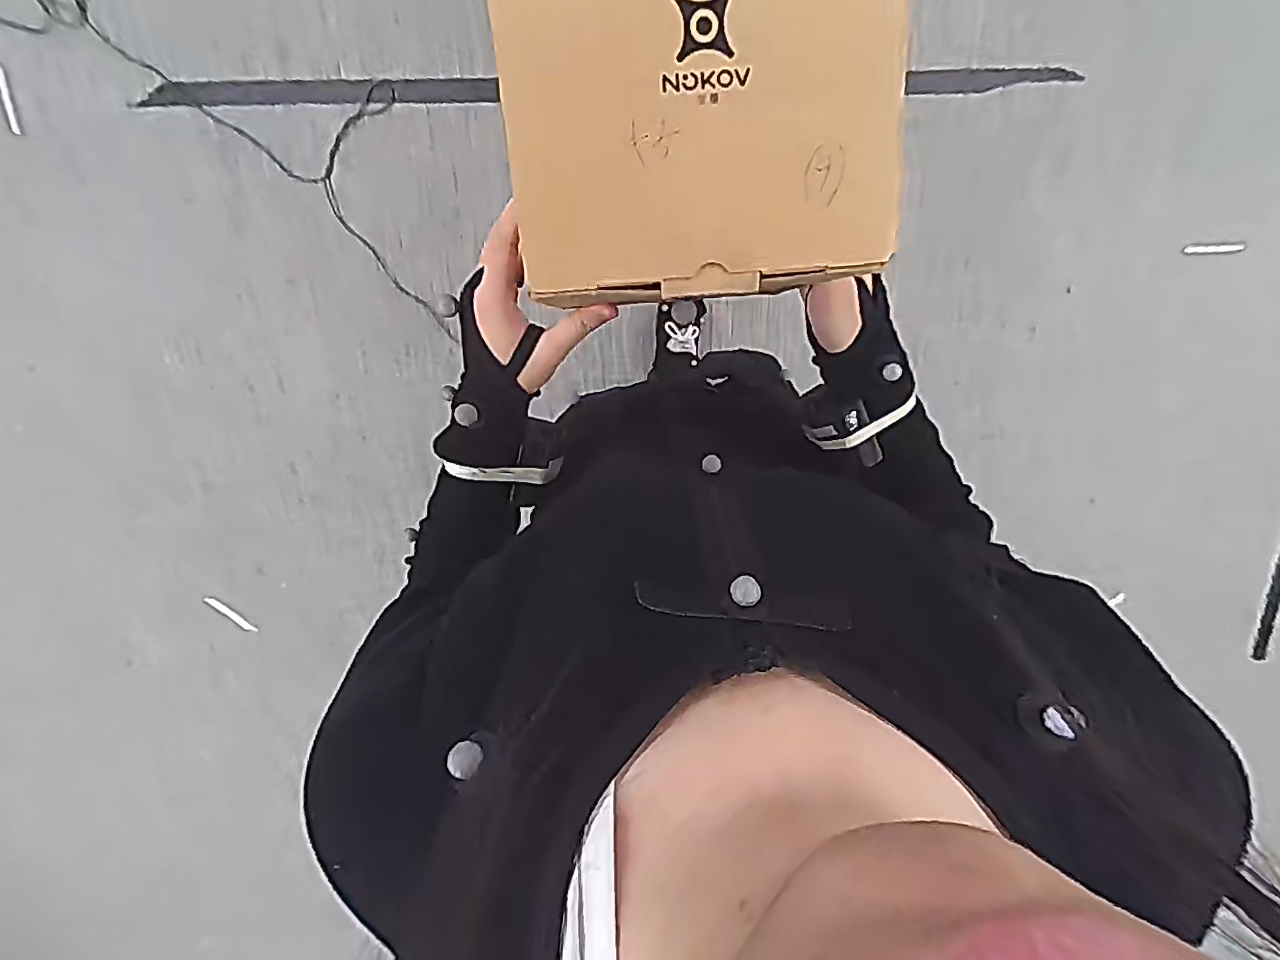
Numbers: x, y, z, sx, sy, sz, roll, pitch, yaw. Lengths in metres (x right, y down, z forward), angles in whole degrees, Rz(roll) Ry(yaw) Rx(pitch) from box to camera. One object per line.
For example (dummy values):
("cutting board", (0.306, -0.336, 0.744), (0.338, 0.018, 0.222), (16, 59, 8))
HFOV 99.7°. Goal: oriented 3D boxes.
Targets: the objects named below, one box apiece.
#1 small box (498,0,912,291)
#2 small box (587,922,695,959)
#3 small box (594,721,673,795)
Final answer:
("small box", (0.023, -0.199, 0.292), (0.168, 0.176, 0.179), (-5, 107, -2))
("small box", (0.002, 0.802, 0.804), (0.168, 0.176, 0.179), (-1, 104, -1))
("small box", (-0.014, 0.697, 1.283), (0.179, 0.176, 0.168), (-4, 103, 0))
